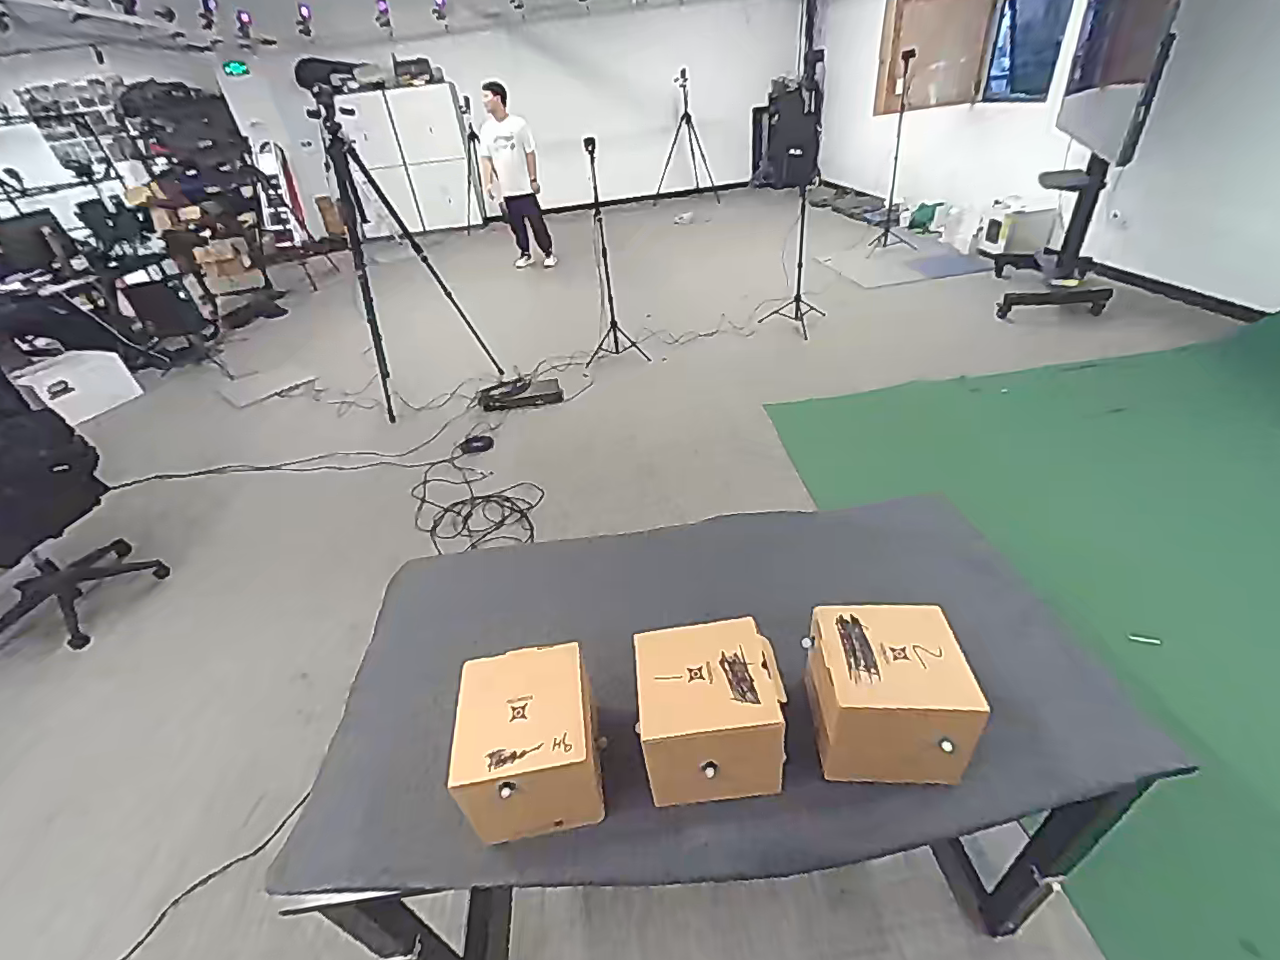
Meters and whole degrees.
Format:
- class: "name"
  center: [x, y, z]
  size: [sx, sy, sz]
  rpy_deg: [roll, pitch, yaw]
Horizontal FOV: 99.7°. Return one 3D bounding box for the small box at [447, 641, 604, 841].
- class: "small box"
  center: [-0.146, 0.356, 0.746]
  size: [0.168, 0.176, 0.179]
  rpy_deg: [-10, 36, -2]
